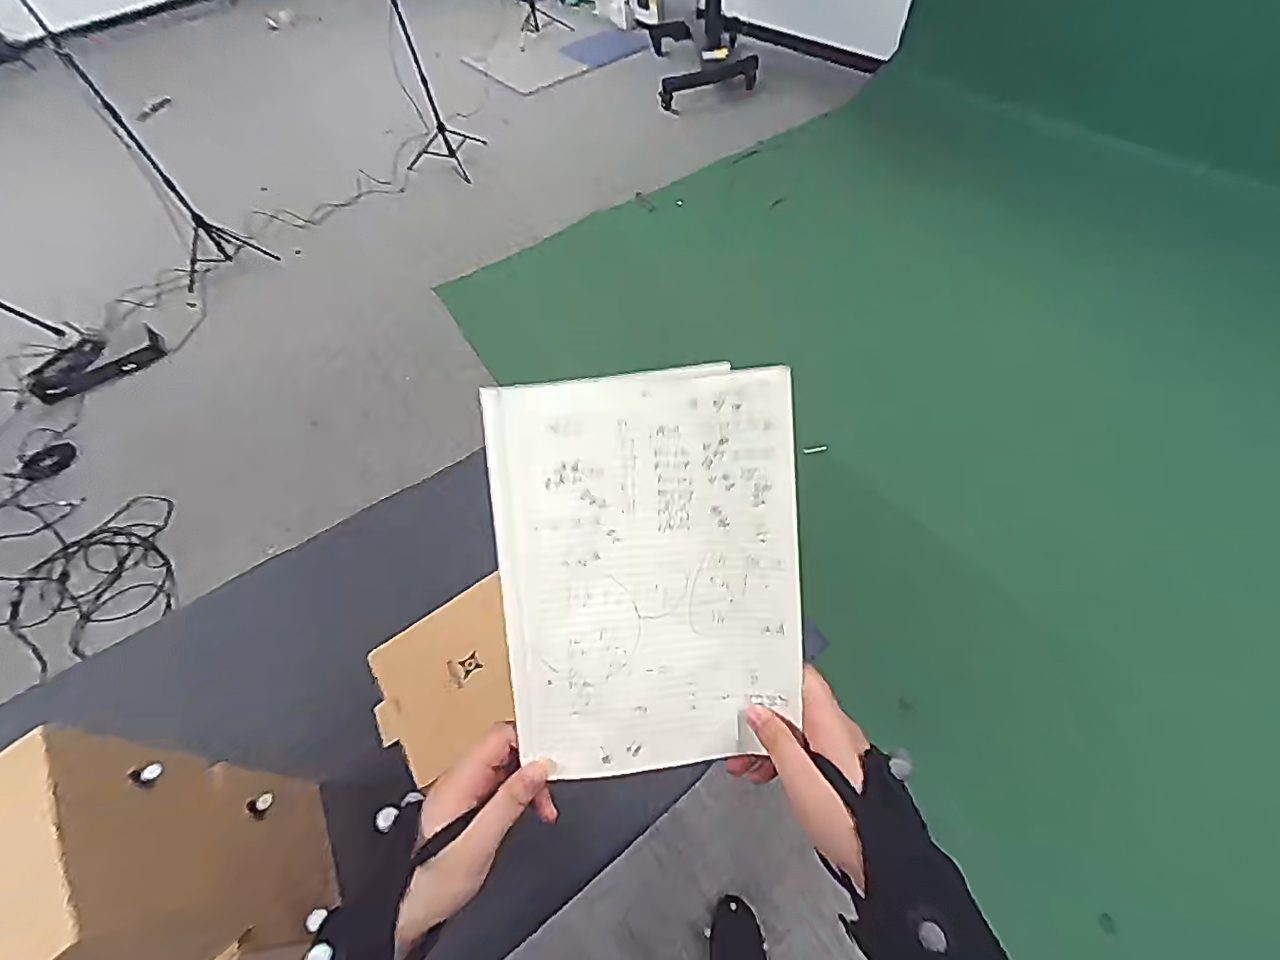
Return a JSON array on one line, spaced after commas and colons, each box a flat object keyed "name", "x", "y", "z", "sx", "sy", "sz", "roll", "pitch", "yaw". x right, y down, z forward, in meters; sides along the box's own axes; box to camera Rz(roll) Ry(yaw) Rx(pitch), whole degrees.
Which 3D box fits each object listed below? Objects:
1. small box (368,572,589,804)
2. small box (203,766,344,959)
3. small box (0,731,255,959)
[{"name": "small box", "x": -0.175, "y": 0.247, "z": 0.639, "sx": 0.179, "sy": 0.176, "sz": 0.168, "roll": -34, "pitch": 57, "yaw": -15}, {"name": "small box", "x": -0.436, "y": 0.429, "z": 0.545, "sx": 0.168, "sy": 0.176, "sz": 0.179, "roll": -30, "pitch": 56, "yaw": -13}, {"name": "small box", "x": -0.450, "y": 0.334, "z": 0.414, "sx": 0.168, "sy": 0.176, "sz": 0.179, "roll": -41, "pitch": 60, "yaw": -19}]
